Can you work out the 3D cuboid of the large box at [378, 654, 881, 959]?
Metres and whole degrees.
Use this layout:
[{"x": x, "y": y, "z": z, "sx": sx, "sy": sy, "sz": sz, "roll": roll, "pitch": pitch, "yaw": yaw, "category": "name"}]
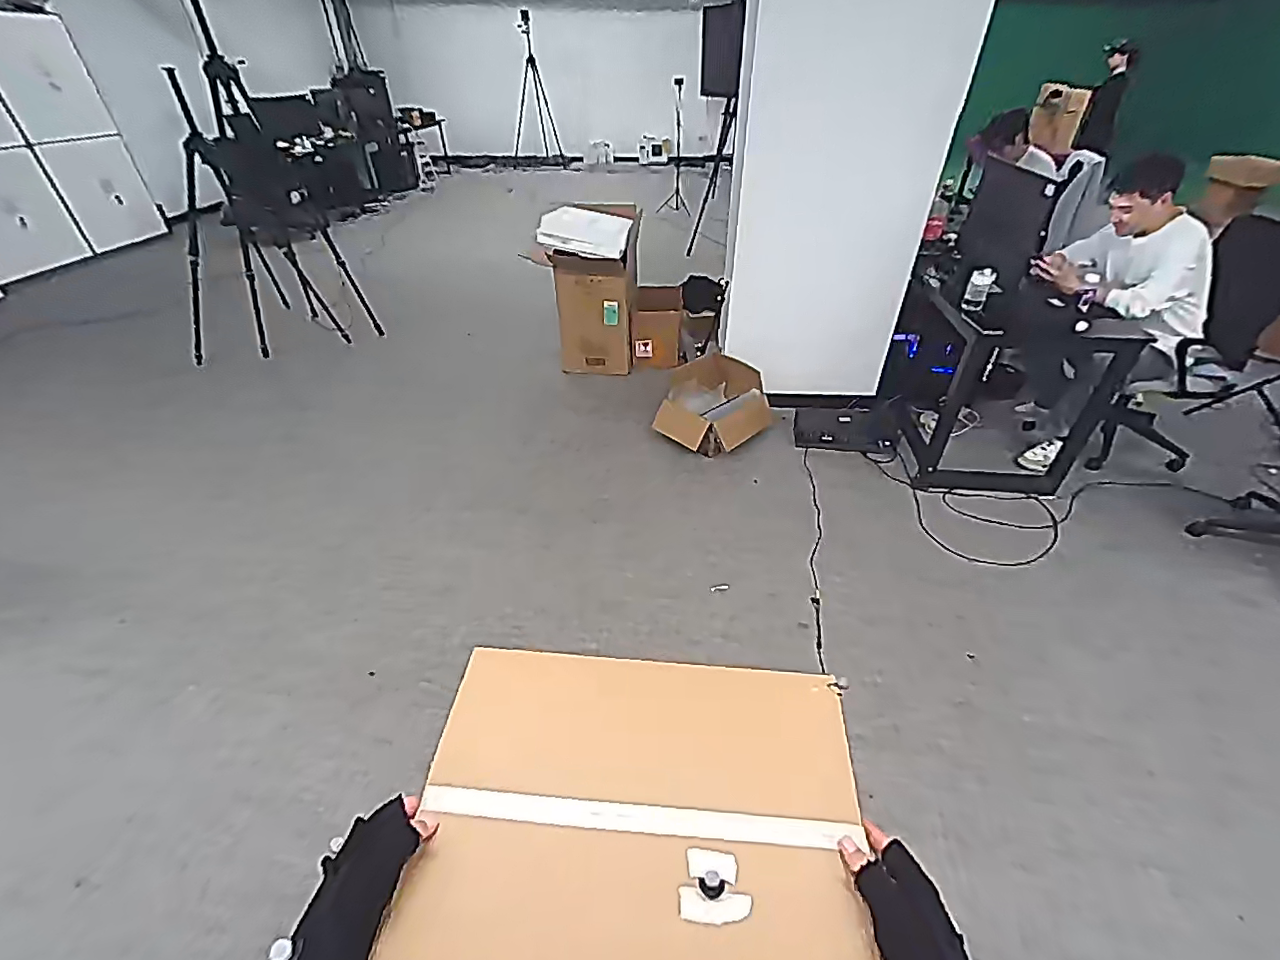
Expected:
[{"x": -0.002, "y": 0.424, "z": 0.597, "sx": 0.408, "sy": 0.320, "sz": 0.320, "roll": 4, "pitch": 43, "yaw": 4, "category": "large box"}]
